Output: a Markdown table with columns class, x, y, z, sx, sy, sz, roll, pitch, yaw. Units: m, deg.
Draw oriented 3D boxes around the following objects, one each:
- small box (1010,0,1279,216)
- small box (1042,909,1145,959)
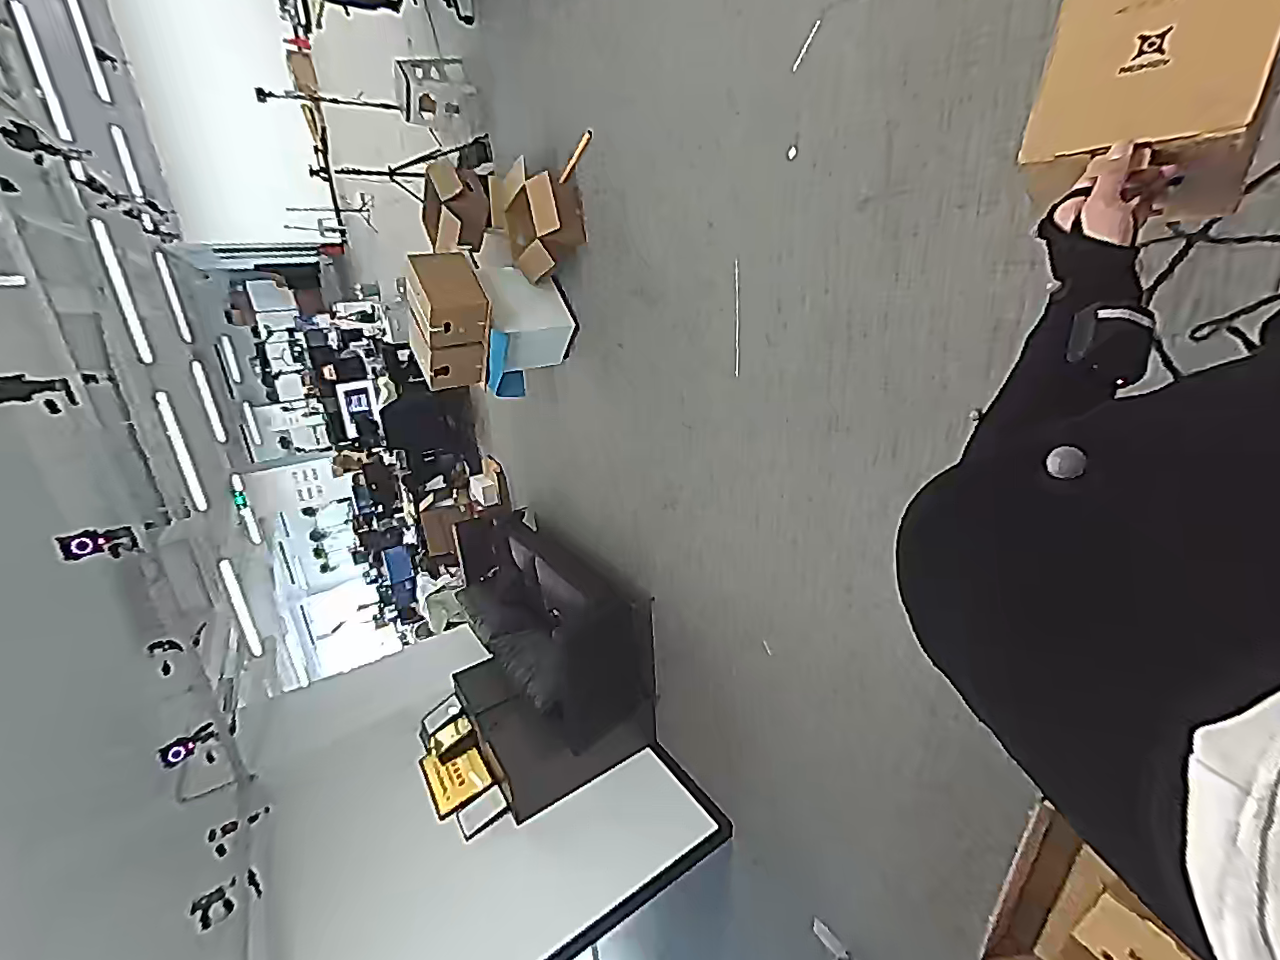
| class | x | y | z | sx | sy | sz | roll | pitch | yaw |
| --- | --- | --- | --- | --- | --- | --- | --- | --- | --- |
| small box | 0.508 | -0.386 | 0.544 | 0.168 | 0.176 | 0.179 | 19 | 98 | 44 |
| small box | 0.982 | 1.101 | 1.172 | 0.168 | 0.176 | 0.179 | 28 | 125 | 50 |
